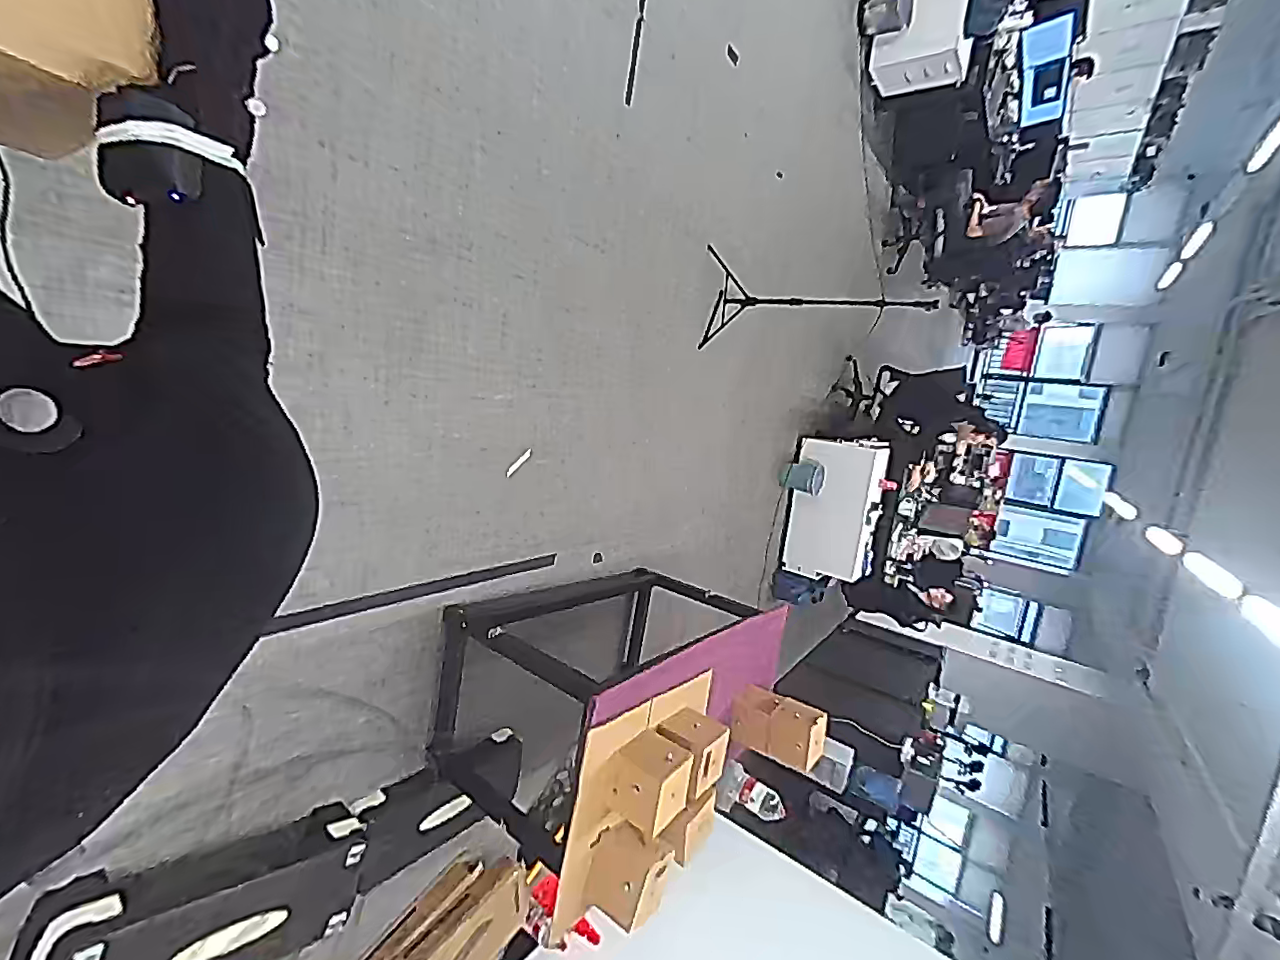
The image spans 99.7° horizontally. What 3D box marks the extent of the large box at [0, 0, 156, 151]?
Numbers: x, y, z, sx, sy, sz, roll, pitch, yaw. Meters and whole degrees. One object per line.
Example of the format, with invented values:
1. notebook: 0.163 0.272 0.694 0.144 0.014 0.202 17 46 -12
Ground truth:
1. large box: -0.575 -0.451 0.299 0.408 0.320 0.320 -2 104 -58
